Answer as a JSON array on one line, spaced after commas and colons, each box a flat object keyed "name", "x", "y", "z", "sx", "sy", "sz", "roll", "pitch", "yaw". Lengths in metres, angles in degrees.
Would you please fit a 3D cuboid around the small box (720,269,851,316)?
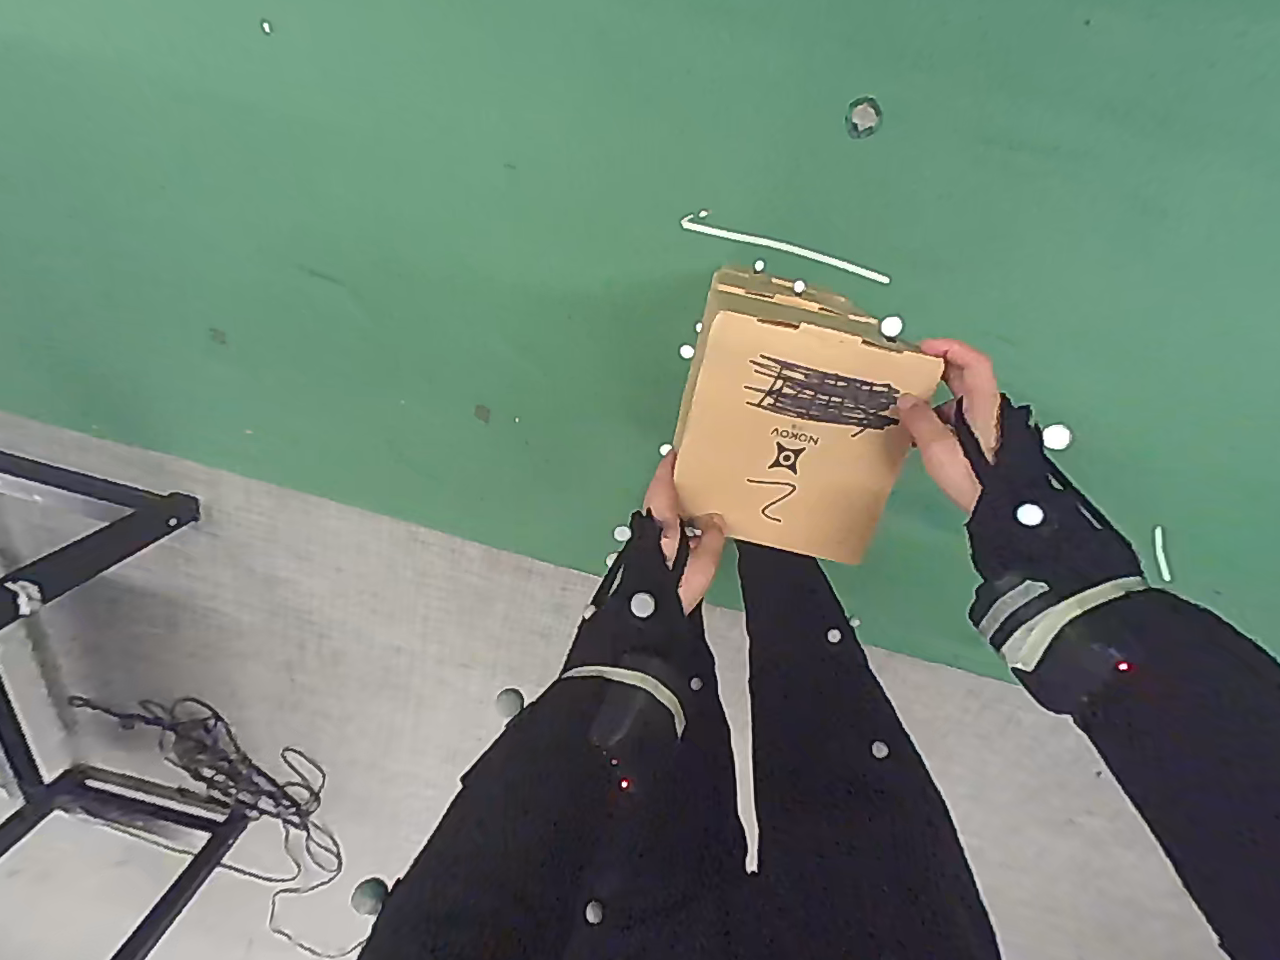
[{"name": "small box", "x": 0.175, "y": -0.194, "z": 0.777, "sx": 0.168, "sy": 0.176, "sz": 0.179, "roll": 15, "pitch": 117, "yaw": 2}]

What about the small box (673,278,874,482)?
[{"name": "small box", "x": 0.144, "y": -0.125, "z": 0.633, "sx": 0.168, "sy": 0.176, "sz": 0.179, "roll": 14, "pitch": 115, "yaw": 2}]
